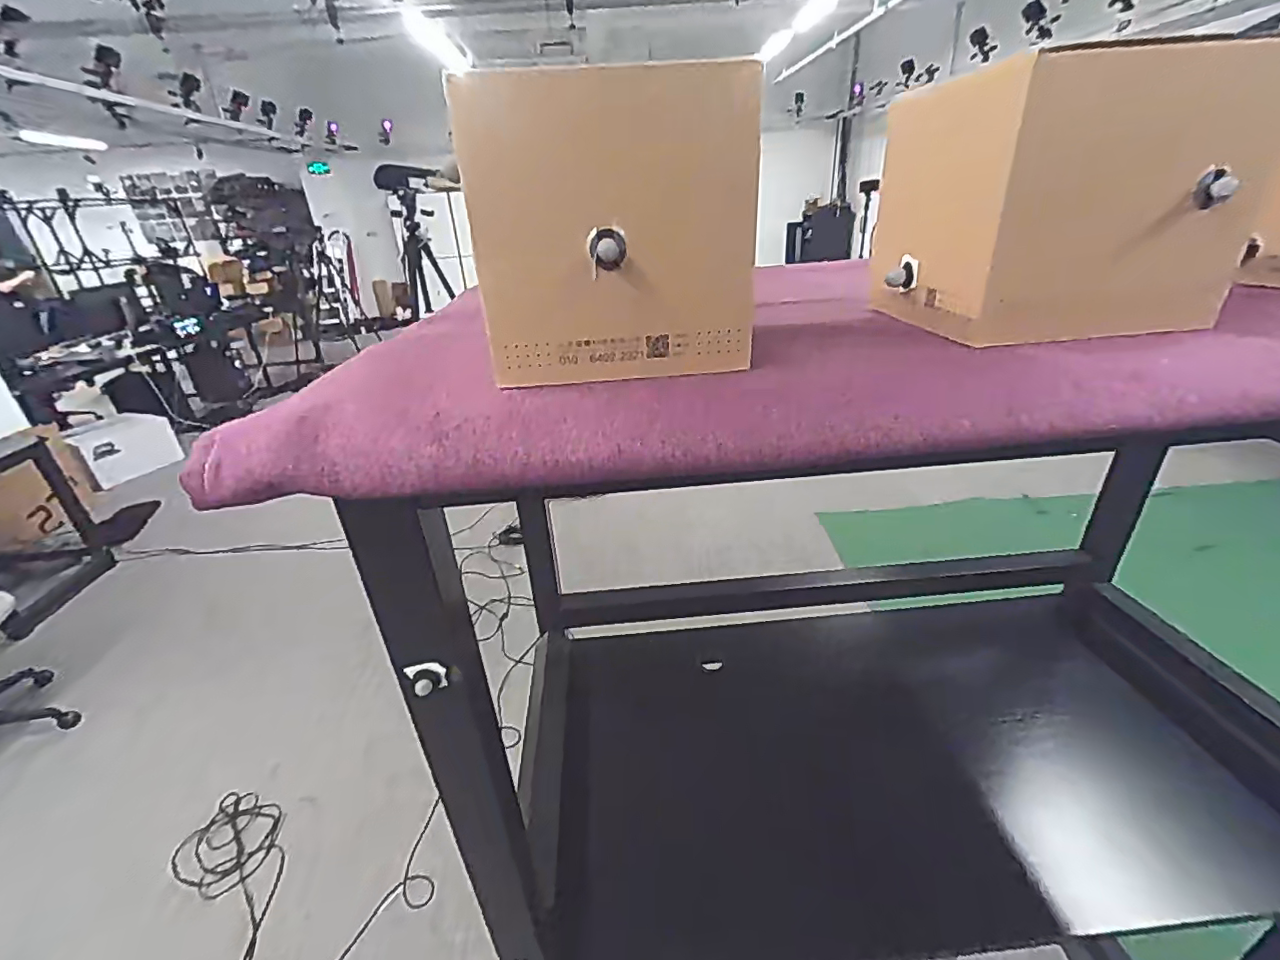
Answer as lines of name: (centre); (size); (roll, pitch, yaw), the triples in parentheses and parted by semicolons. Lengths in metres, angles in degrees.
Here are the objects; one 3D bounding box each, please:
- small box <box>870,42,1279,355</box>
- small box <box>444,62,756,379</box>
small box: (0.298, -0.200, 0.406); (0.179, 0.176, 0.168); (-6, 27, -3)
small box: (-0.021, -0.173, 0.385); (0.168, 0.176, 0.179); (-4, 28, -3)
